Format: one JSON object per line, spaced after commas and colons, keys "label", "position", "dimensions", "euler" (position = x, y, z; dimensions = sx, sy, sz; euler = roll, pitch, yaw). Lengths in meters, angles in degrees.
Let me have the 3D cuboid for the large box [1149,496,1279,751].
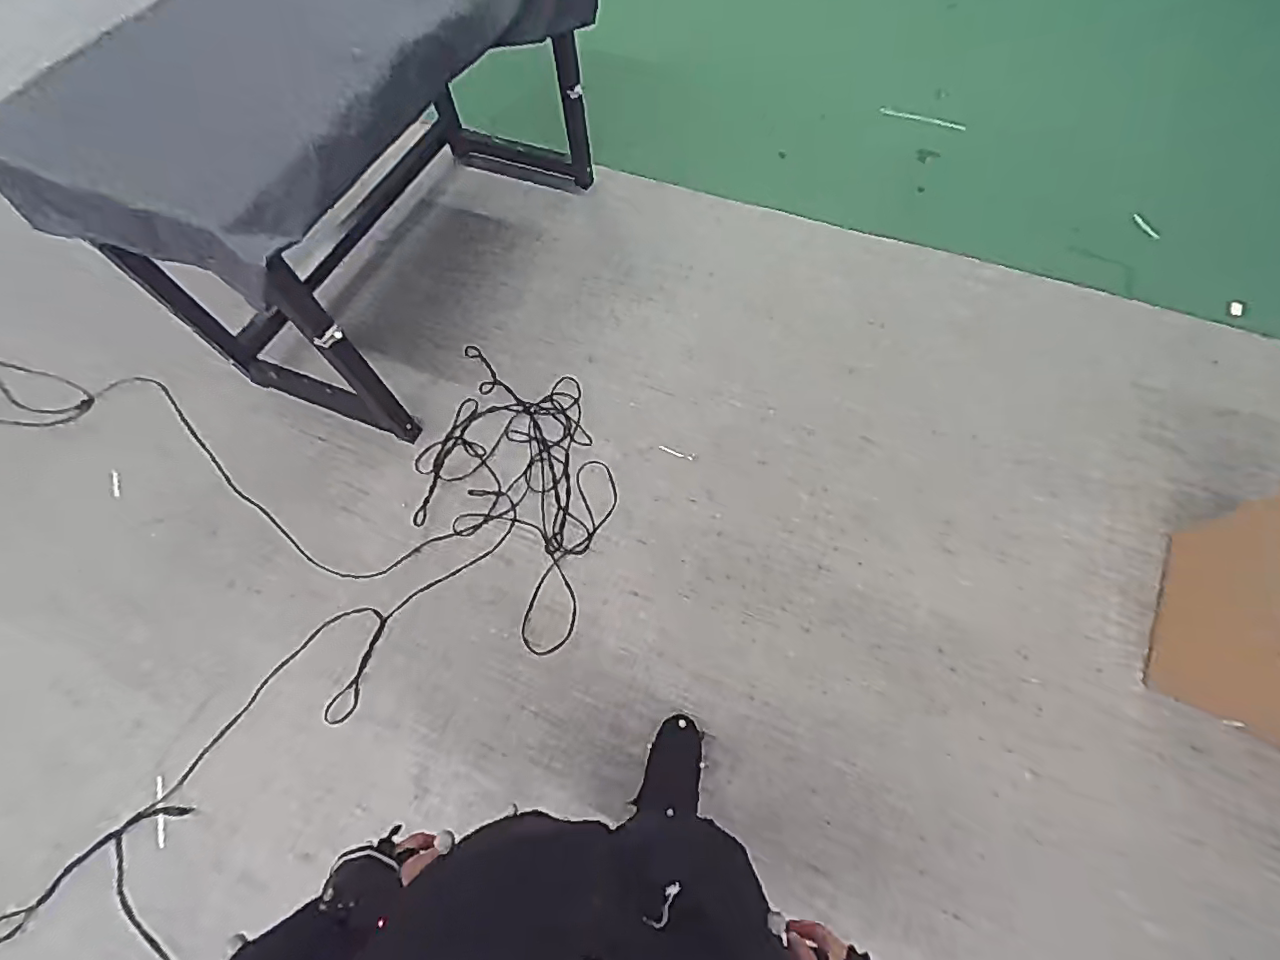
{"label": "large box", "position": [1.319, 0.296, 1.074], "dimensions": [0.320, 0.320, 0.408], "euler": [25, 69, 15]}
